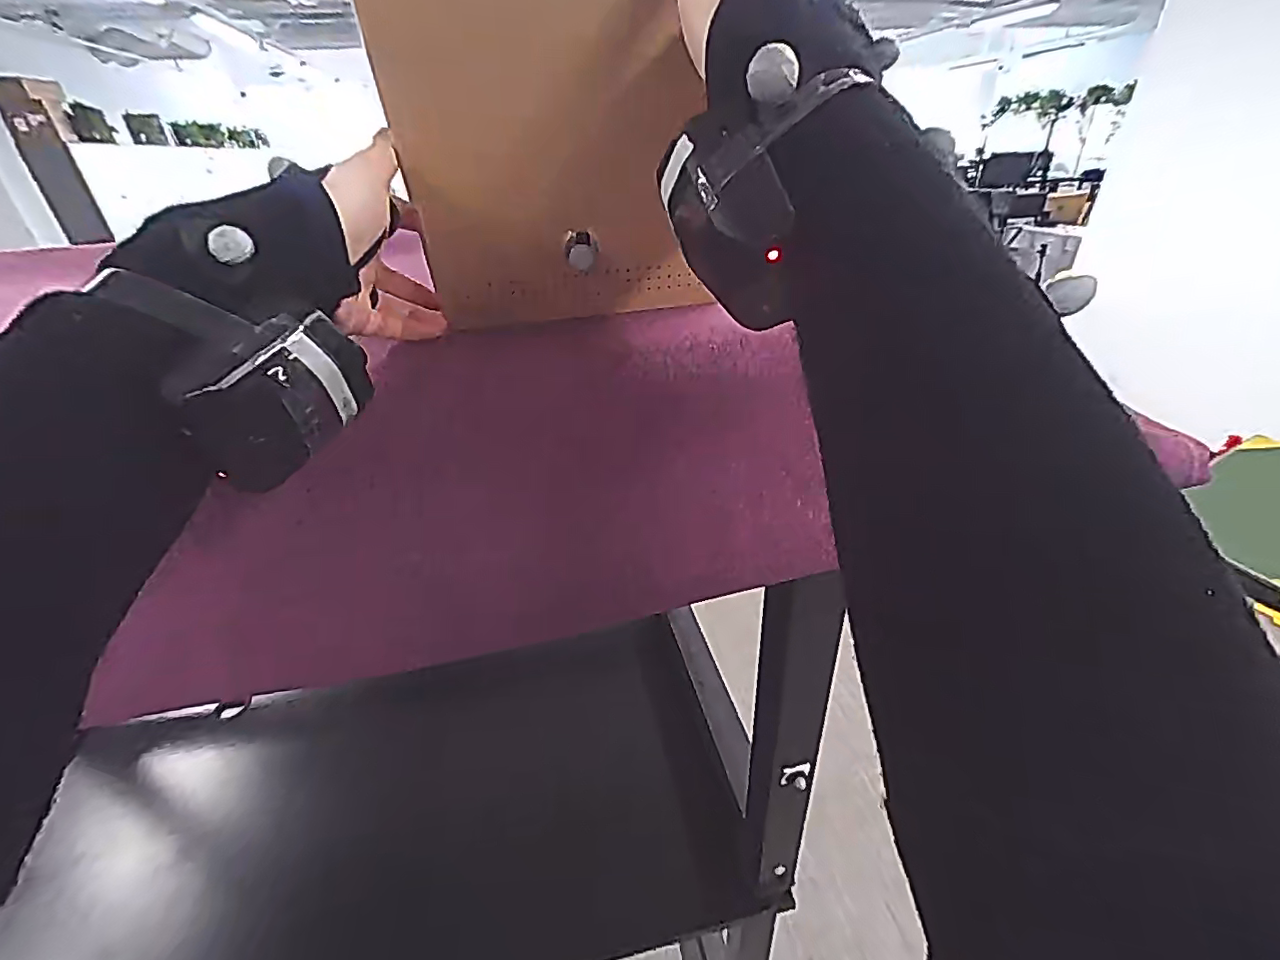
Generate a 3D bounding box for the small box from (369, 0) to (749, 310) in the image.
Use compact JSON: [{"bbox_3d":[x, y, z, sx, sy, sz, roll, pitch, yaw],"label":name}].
[{"bbox_3d":[-0.045,-0.223,0.343,0.179,0.176,0.168,-8,40,-6],"label":"small box"}]
